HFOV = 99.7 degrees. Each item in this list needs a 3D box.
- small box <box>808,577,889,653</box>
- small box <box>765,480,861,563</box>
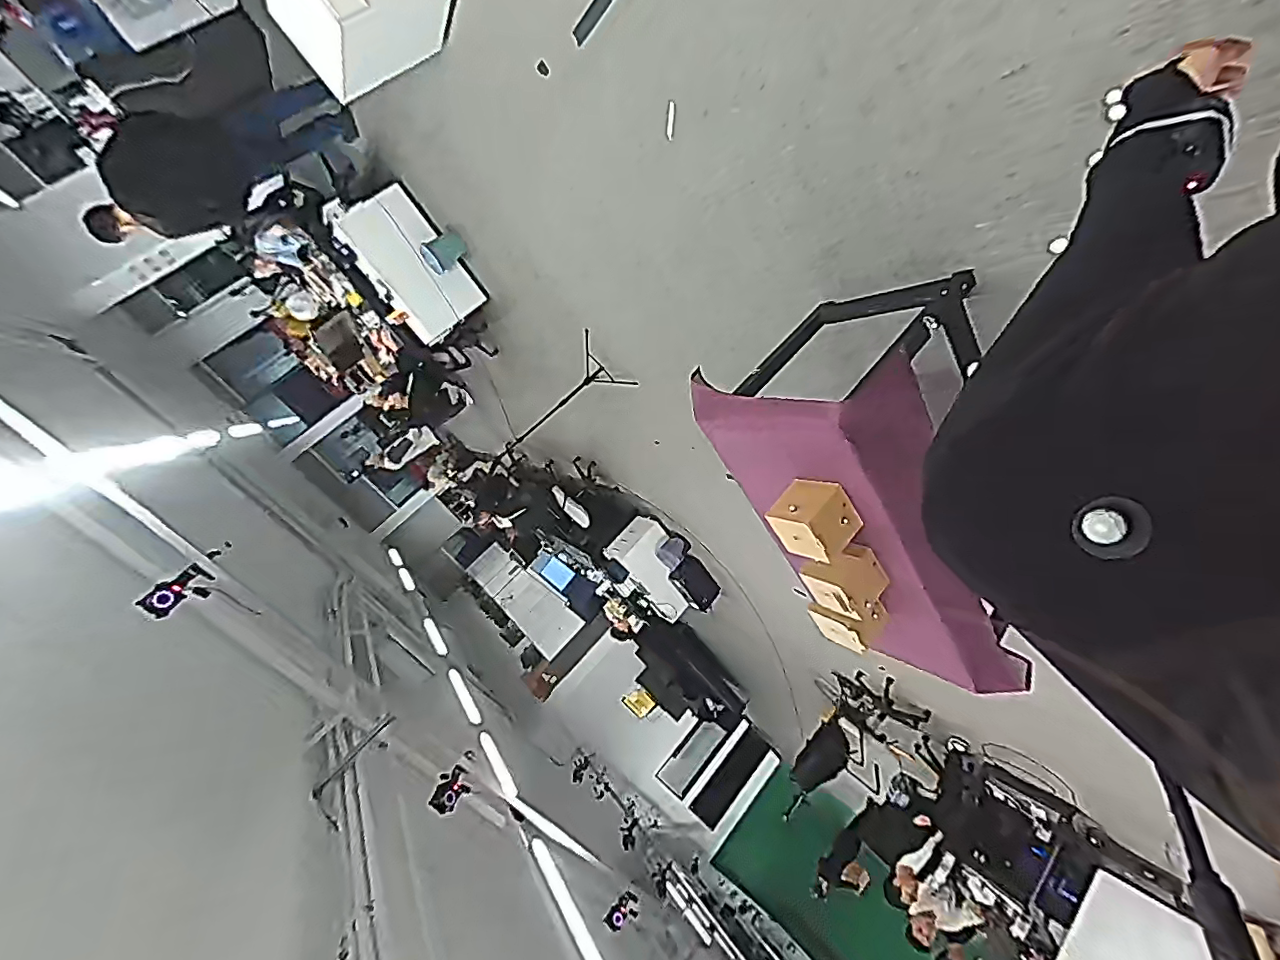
[{"bbox_3d":[0.734,0.467,1.903,0.168,0.176,0.179,53,160,-24],"label":"small box"},{"bbox_3d":[0.516,0.115,1.607,0.168,0.176,0.179,52,161,-23],"label":"small box"}]
